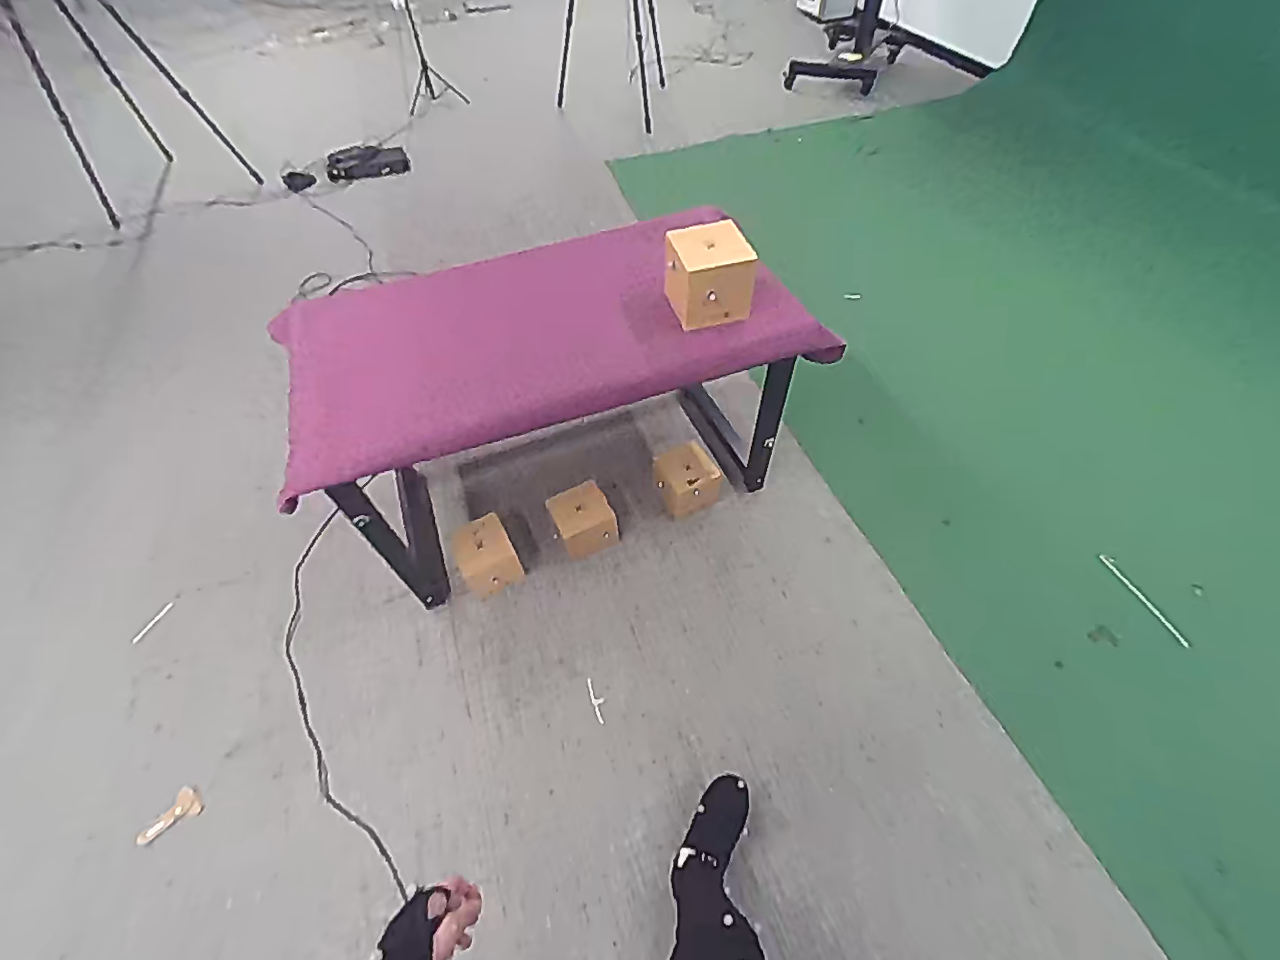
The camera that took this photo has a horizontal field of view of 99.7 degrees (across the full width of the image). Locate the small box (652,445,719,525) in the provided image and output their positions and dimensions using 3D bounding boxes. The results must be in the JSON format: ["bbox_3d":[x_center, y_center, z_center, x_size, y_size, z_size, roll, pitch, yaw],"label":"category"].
[{"bbox_3d":[0.147,0.019,1.832,0.168,0.176,0.179,-23,56,-15],"label":"small box"}]

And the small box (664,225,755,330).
[{"bbox_3d":[0.161,-0.478,1.297,0.168,0.176,0.179,-13,53,-7],"label":"small box"}]

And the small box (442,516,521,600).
[{"bbox_3d":[-0.485,0.251,1.675,0.168,0.176,0.179,-25,57,-16],"label":"small box"}]

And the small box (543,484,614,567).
[{"bbox_3d":[-0.192,0.149,1.745,0.179,0.176,0.168,-24,56,-15],"label":"small box"}]
